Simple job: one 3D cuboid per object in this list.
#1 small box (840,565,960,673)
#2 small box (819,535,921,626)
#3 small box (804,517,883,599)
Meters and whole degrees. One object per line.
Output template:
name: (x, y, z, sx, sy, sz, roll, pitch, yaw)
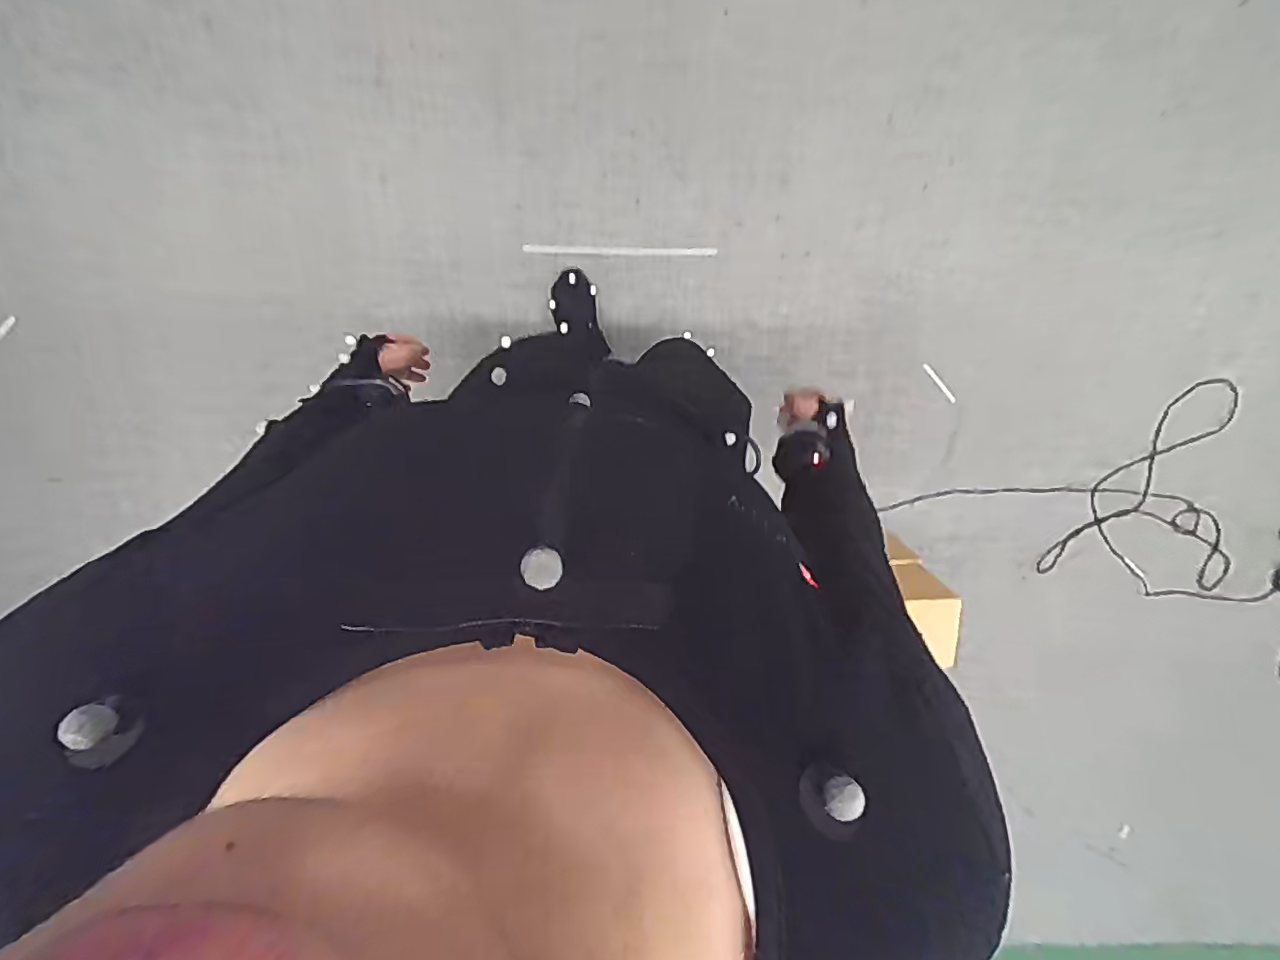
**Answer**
small box: (0.558, 0.296, 1.179, 0.179, 0.176, 0.168, -4, 107, 1)
small box: (0.558, 0.243, 1.333, 0.179, 0.176, 0.168, -3, 106, 1)
small box: (0.561, 0.212, 1.495, 0.179, 0.176, 0.168, -7, 108, 1)
